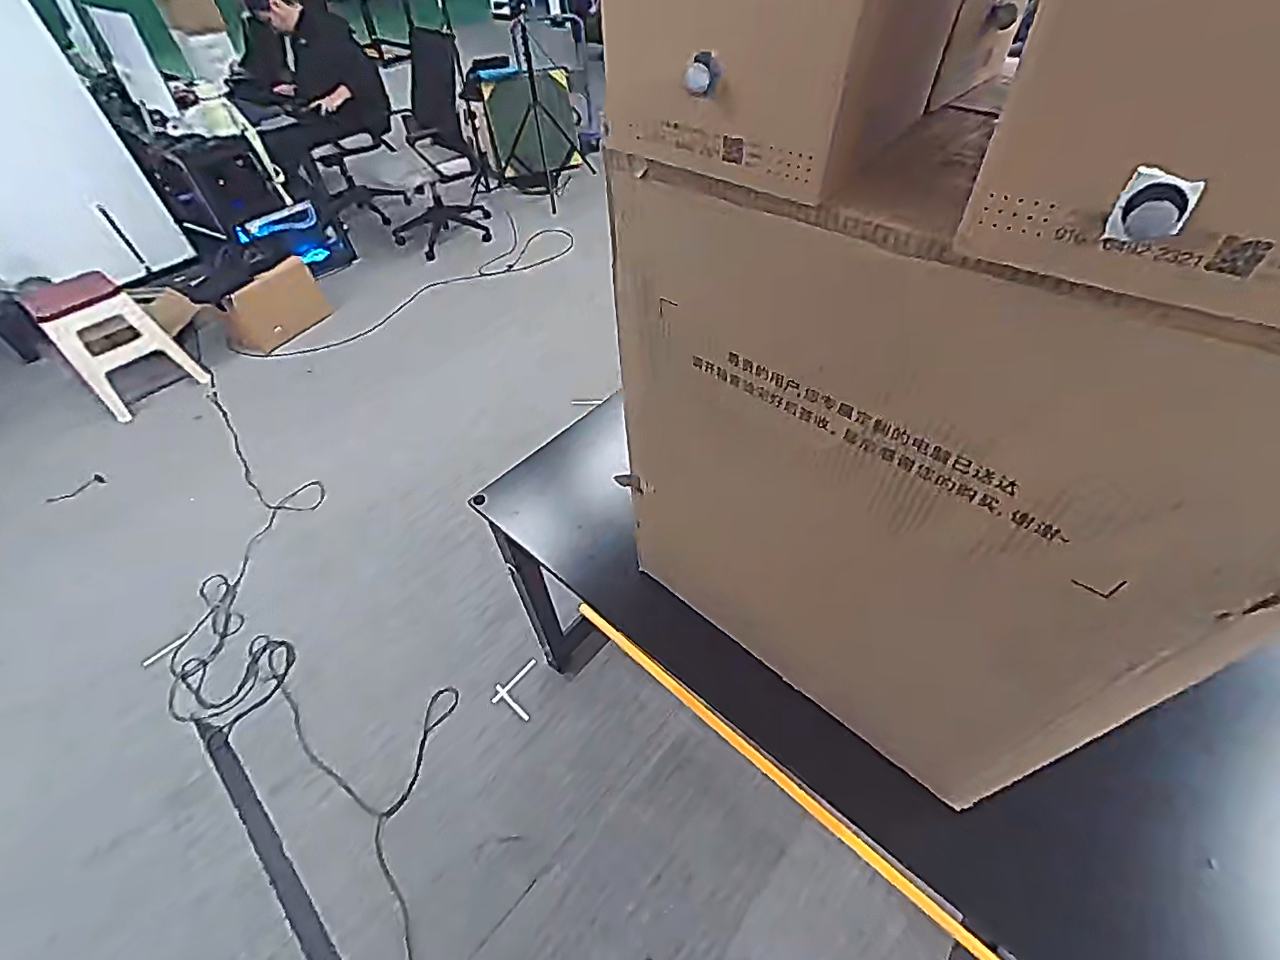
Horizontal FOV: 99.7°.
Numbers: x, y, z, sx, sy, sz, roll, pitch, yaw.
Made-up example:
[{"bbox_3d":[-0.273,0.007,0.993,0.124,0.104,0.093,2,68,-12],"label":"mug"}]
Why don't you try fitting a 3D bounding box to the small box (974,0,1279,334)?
[{"bbox_3d":[0.273,-0.188,0.225,0.168,0.176,0.179,27,58,27],"label":"small box"}]
